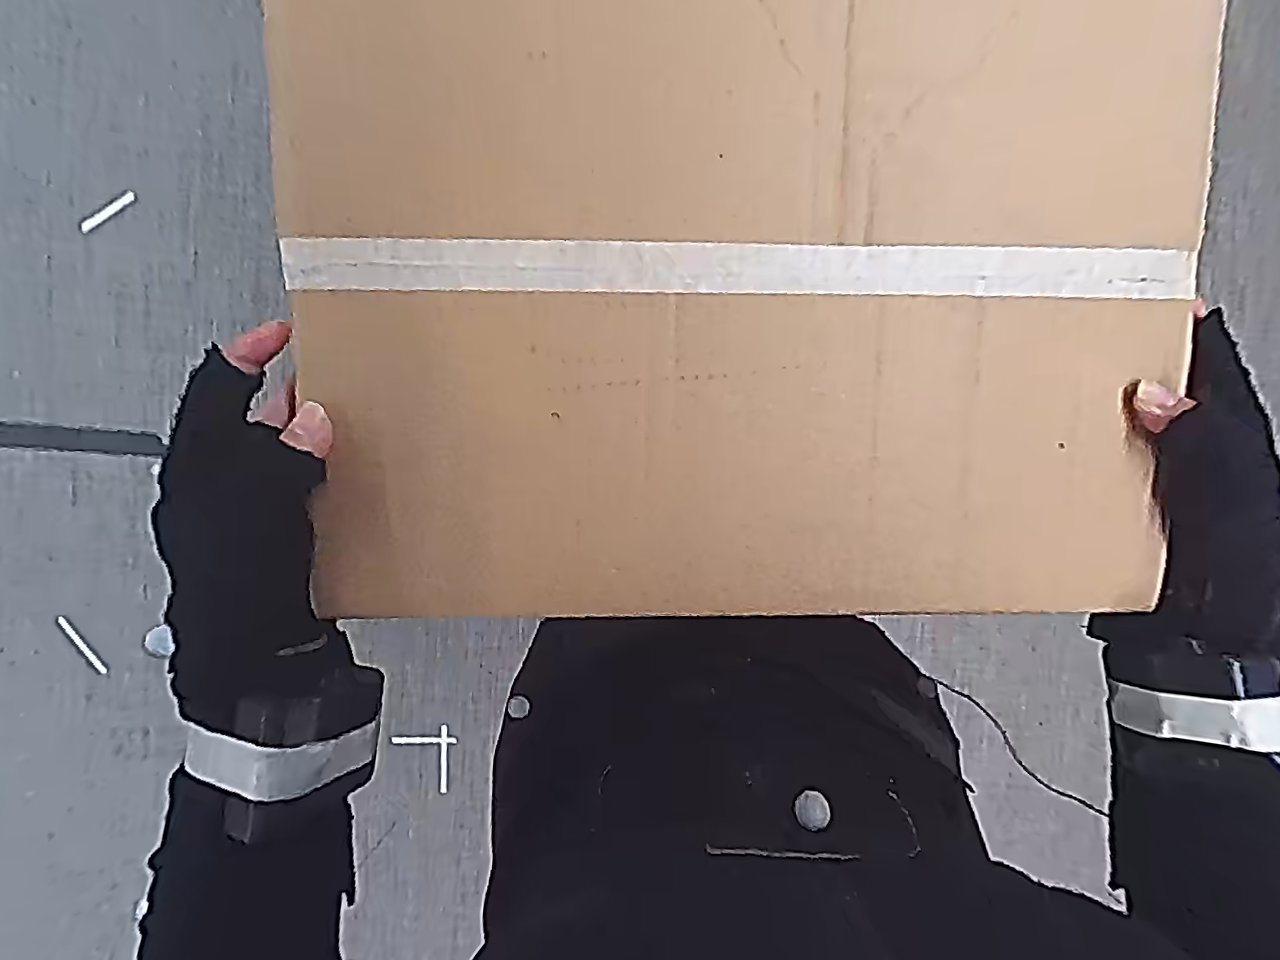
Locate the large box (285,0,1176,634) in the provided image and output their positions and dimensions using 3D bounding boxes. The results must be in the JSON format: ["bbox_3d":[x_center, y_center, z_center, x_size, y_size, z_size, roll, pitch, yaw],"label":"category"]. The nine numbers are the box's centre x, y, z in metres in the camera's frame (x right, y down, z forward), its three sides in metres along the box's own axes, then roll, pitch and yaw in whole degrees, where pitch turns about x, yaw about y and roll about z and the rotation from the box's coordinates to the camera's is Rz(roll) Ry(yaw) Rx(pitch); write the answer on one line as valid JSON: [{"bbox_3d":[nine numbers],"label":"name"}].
[{"bbox_3d":[0.040,-0.097,0.400,0.408,0.320,0.320,-1,97,-2],"label":"large box"}]
